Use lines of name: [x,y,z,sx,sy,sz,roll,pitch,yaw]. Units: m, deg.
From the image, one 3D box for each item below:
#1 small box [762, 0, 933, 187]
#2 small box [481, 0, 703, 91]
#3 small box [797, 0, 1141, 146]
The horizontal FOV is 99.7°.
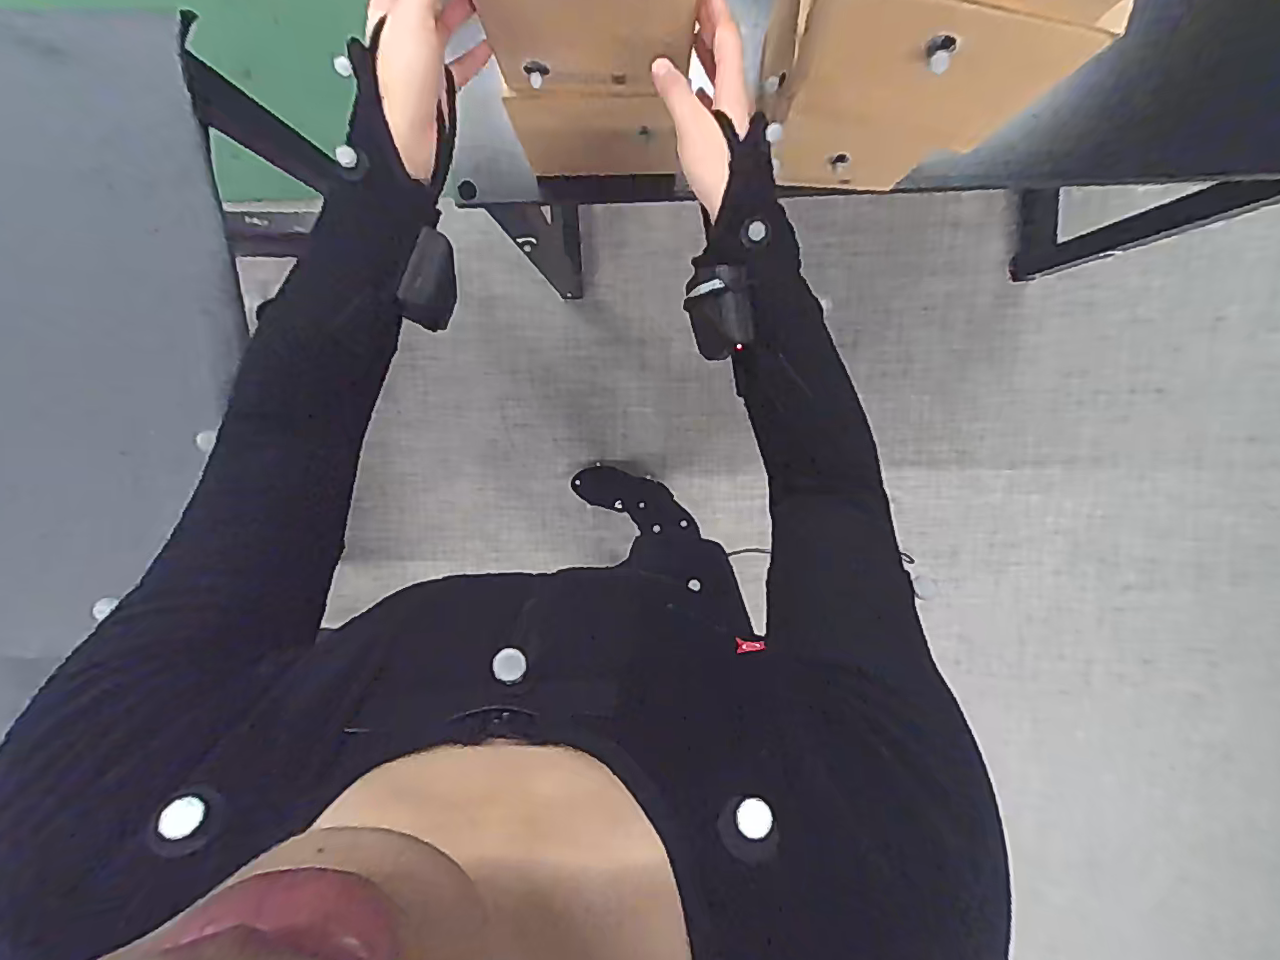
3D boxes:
small box: [0.228,-0.426,0.562,0.168,0.176,0.179,3,99,0]
small box: [-0.032,-0.426,0.400,0.168,0.176,0.179,2,97,0]
small box: [0.239,-0.381,0.404,0.179,0.176,0.168,11,99,0]
